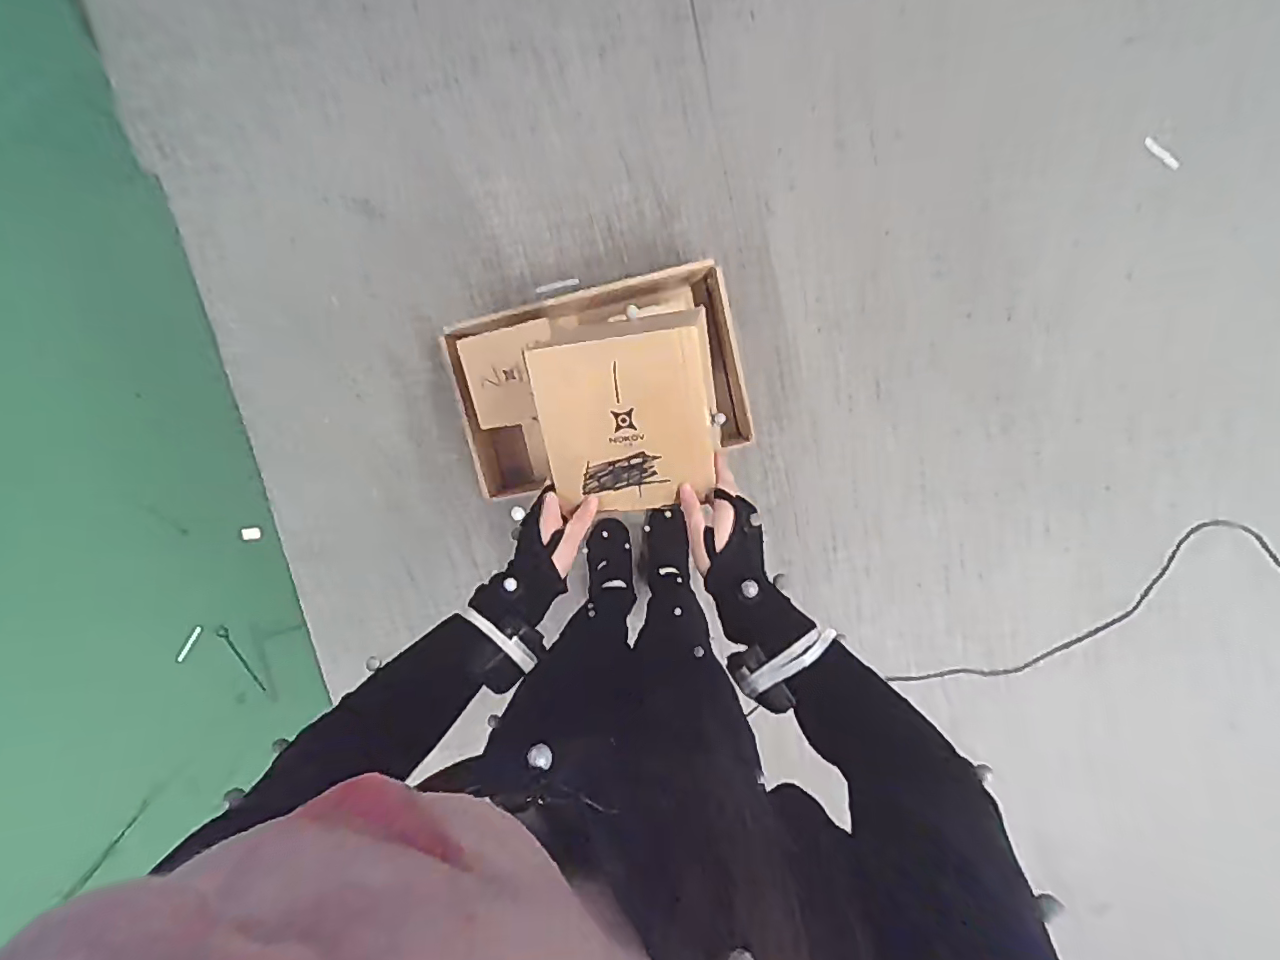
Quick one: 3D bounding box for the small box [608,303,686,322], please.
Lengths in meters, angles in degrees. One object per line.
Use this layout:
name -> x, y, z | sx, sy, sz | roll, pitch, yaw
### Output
small box -> 0.034, -0.278, 1.205 | 0.168, 0.176, 0.179 | -13, 98, 4

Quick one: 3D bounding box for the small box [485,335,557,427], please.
small box -> -0.233, -0.221, 1.225 | 0.168, 0.176, 0.179 | -9, 98, 2

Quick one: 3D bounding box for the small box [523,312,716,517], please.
small box -> -0.007, -0.078, 0.592 | 0.168, 0.176, 0.179 | -5, 111, 10
